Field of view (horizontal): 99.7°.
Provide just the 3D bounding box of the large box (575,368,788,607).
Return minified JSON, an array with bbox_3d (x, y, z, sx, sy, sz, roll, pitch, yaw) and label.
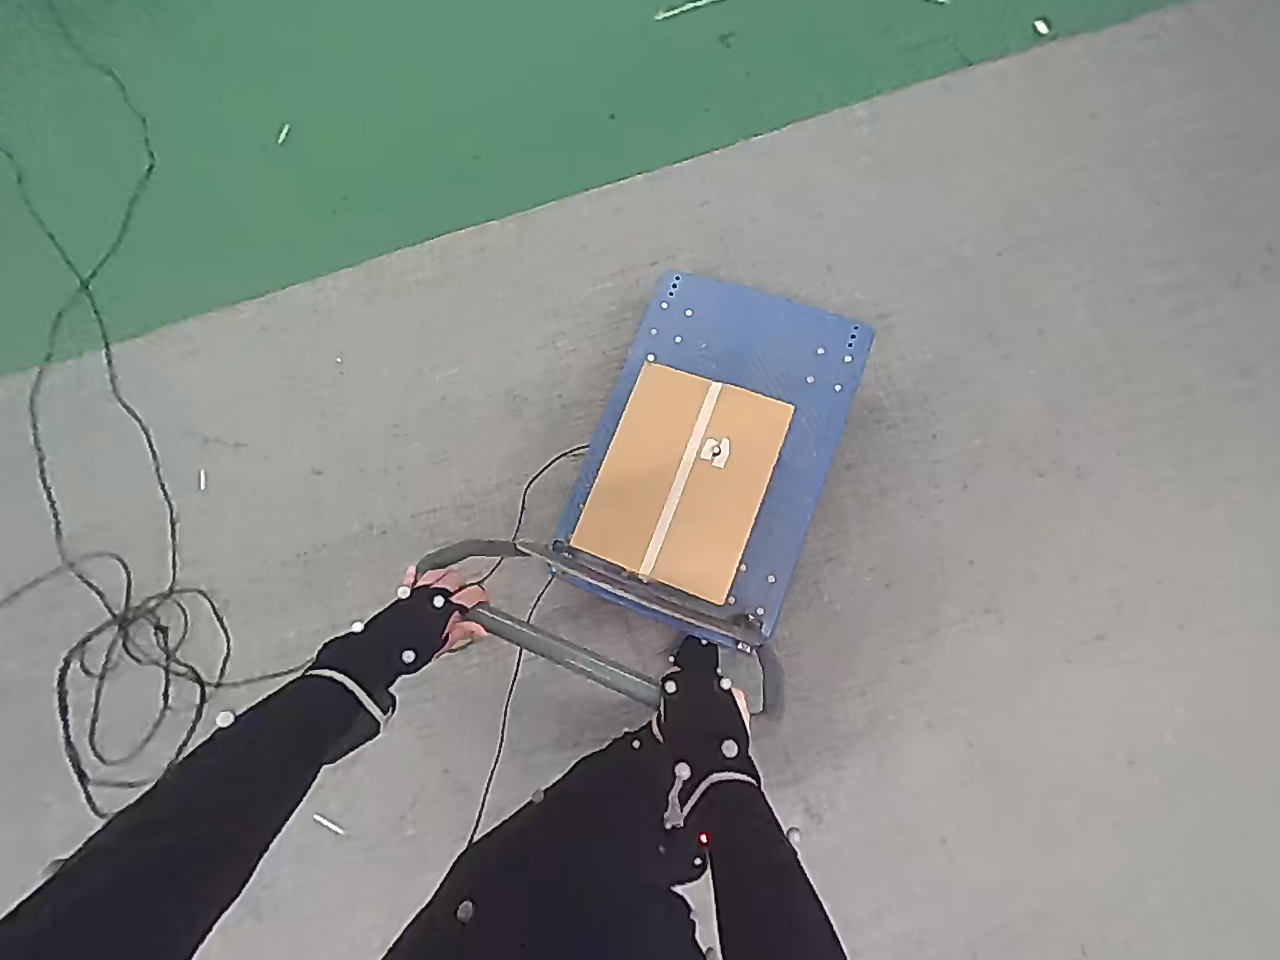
[{"bbox_3d":[0.101,0.035,1.180,0.320,0.320,0.408,19,80,11],"label":"large box"}]
